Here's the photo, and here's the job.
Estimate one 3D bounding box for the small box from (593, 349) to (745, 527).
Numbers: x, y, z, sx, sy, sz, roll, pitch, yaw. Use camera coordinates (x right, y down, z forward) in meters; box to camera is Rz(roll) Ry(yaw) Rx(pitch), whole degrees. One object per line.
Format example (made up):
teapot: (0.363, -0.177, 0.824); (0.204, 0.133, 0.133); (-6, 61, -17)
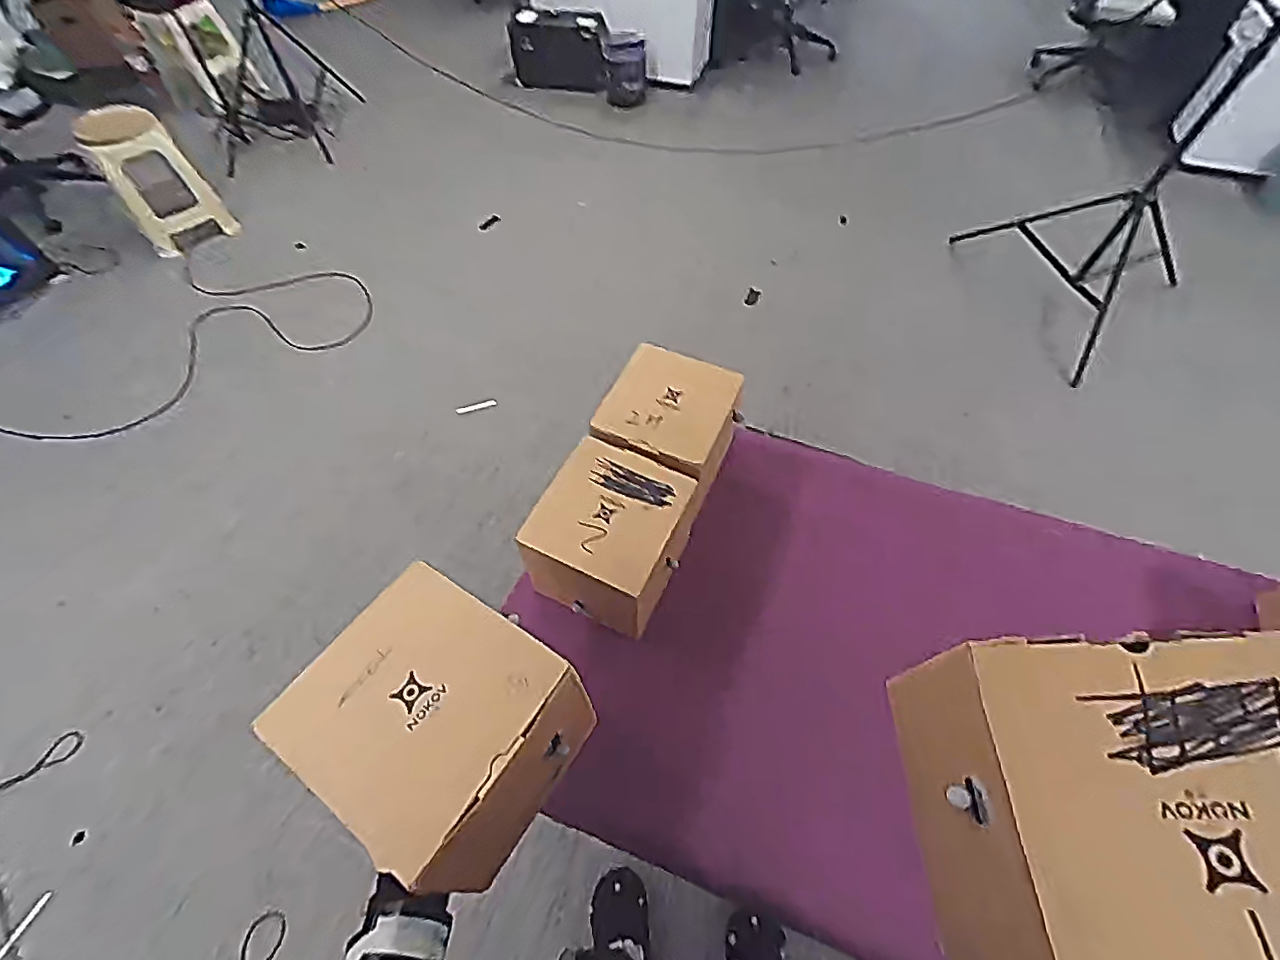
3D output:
small box: (0.042, -0.060, 0.819); (0.168, 0.176, 0.179); (21, 59, 14)

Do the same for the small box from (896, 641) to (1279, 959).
small box: (0.269, 0.200, 0.314); (0.168, 0.176, 0.179); (-4, 62, 7)

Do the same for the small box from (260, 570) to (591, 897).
small box: (-0.160, 0.215, 0.466); (0.179, 0.176, 0.168); (26, 57, 22)
